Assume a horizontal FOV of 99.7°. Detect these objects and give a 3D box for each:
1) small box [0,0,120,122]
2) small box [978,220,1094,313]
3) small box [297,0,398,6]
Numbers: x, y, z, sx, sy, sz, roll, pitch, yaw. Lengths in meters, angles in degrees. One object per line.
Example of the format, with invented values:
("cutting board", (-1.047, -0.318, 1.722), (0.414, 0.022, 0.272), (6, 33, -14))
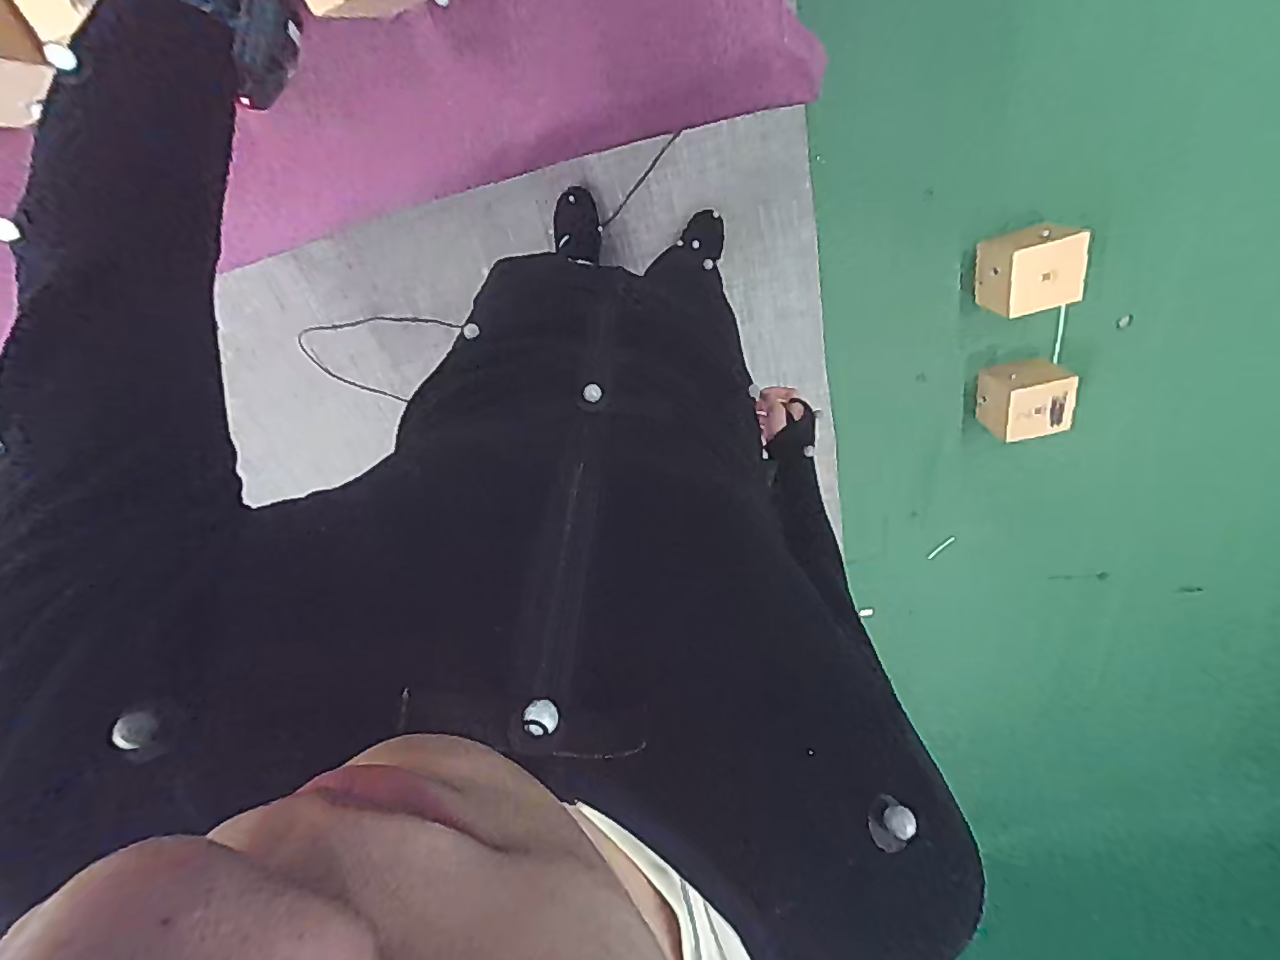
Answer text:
("small box", (-0.709, -0.484, 0.541), (0.168, 0.176, 0.179), (-15, 122, 9))
("small box", (0.984, -0.541, 1.363), (0.179, 0.176, 0.168), (-14, 120, 8))
("small box", (-0.231, -0.527, 0.443), (0.168, 0.176, 0.179), (-13, 130, 13))
